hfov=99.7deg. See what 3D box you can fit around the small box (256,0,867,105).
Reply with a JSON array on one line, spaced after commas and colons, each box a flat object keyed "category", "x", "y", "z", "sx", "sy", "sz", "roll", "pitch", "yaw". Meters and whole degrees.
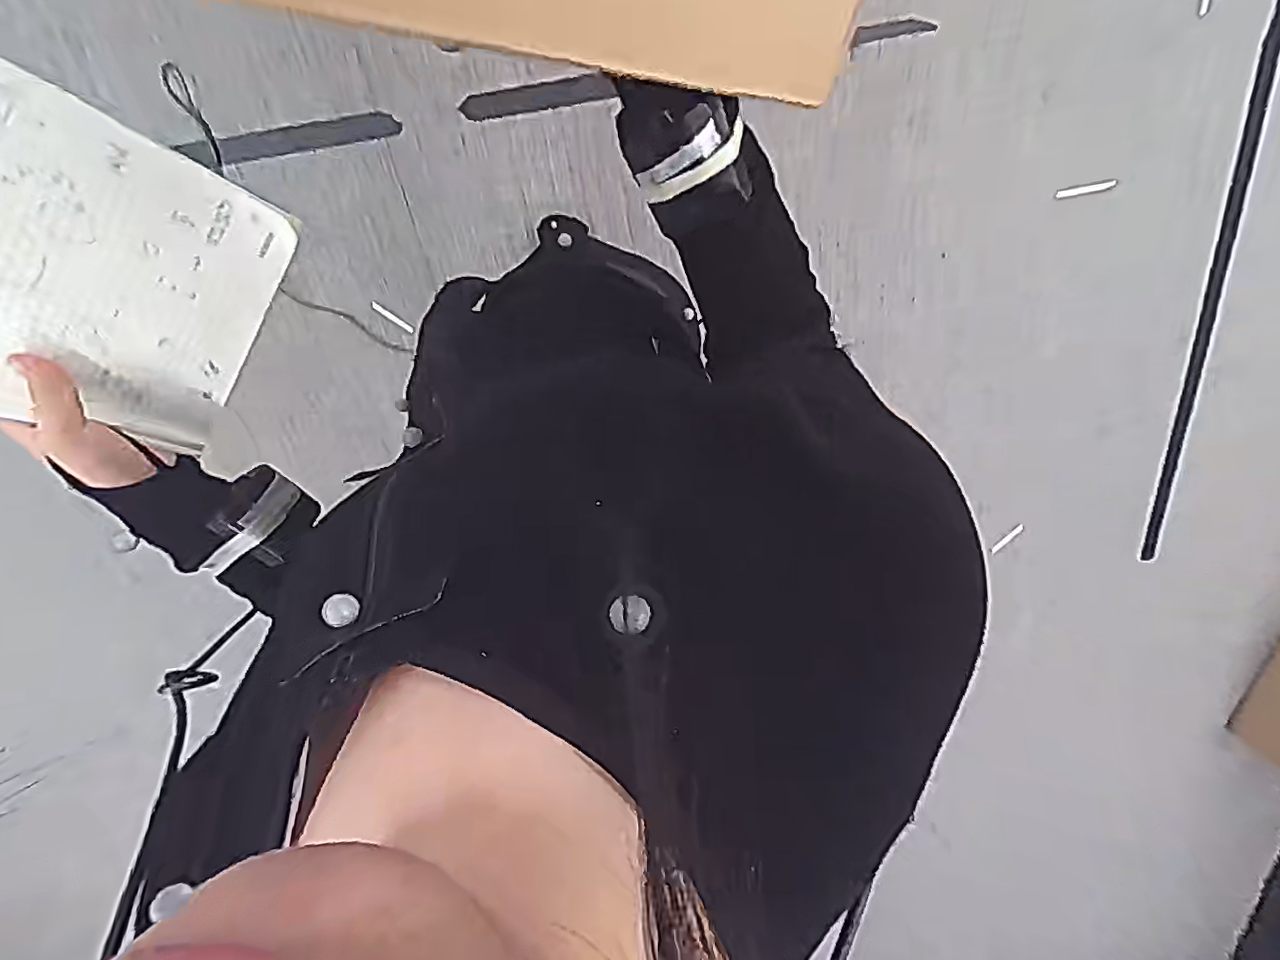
[{"category": "small box", "x": -0.029, "y": -0.224, "z": 0.130, "sx": 0.168, "sy": 0.176, "sz": 0.179, "roll": -10, "pitch": 139, "yaw": -25}]
